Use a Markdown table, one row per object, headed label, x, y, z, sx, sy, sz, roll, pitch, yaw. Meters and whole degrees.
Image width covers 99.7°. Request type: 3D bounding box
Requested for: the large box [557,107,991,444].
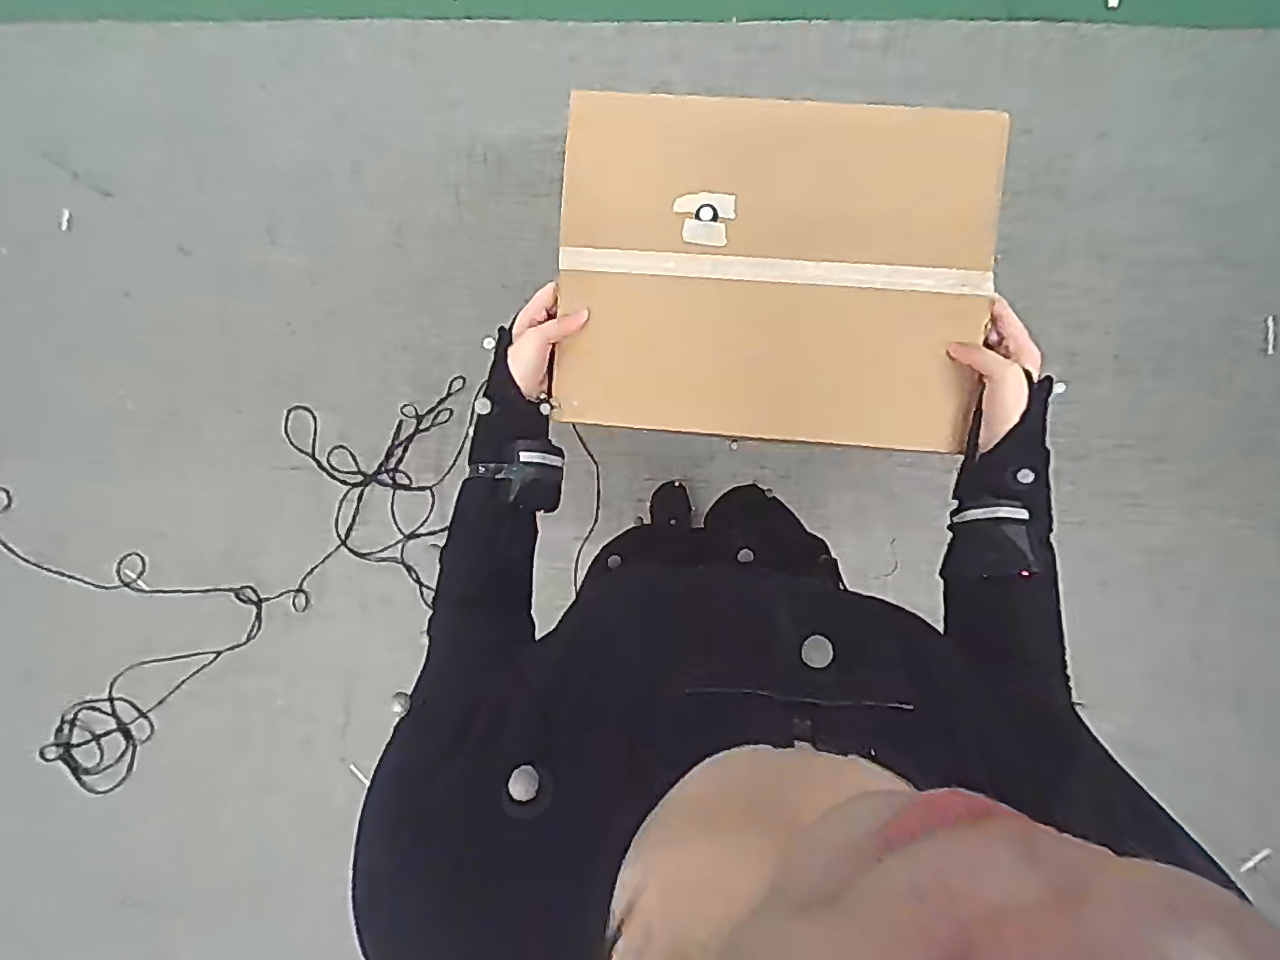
| label | x | y | z | sx | sy | sz | roll | pitch | yaw |
| --- | --- | --- | --- | --- | --- | --- | --- | --- | --- |
| large box | 0.134 | -0.214 | 0.675 | 0.408 | 0.320 | 0.320 | 4 | 95 | 5 |
